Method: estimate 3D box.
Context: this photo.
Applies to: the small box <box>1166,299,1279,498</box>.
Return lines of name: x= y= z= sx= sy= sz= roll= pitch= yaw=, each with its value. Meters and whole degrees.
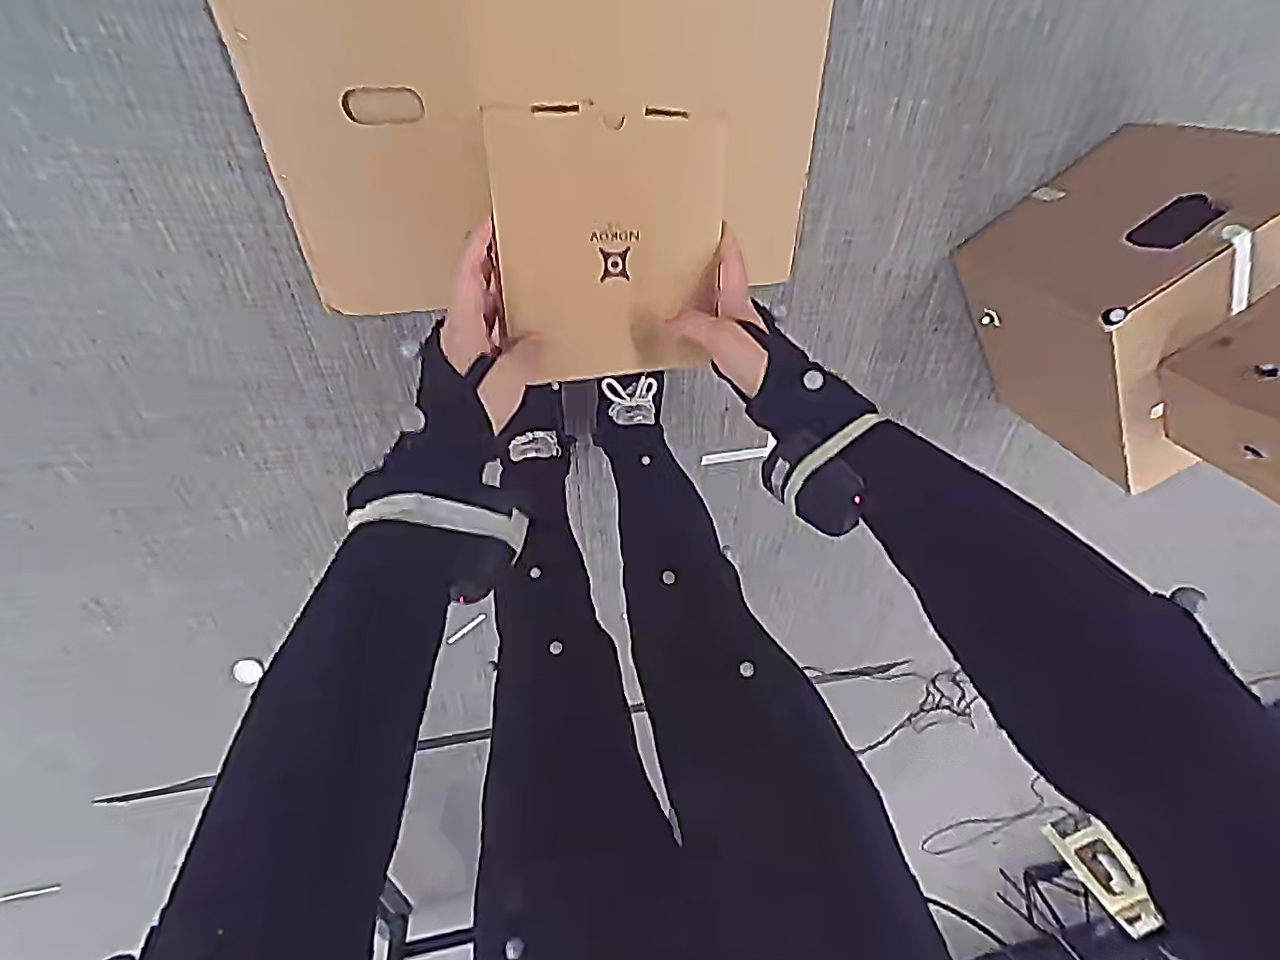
small box: x=0.818 y=-0.107 z=0.679 sx=0.168 sy=0.176 sz=0.179 roll=-38 pitch=127 yaw=16

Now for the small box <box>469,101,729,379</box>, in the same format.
small box: x=-0.043 y=-0.200 z=0.450 sx=0.168 sy=0.176 sz=0.179 roll=-10 pitch=121 yaw=-17
